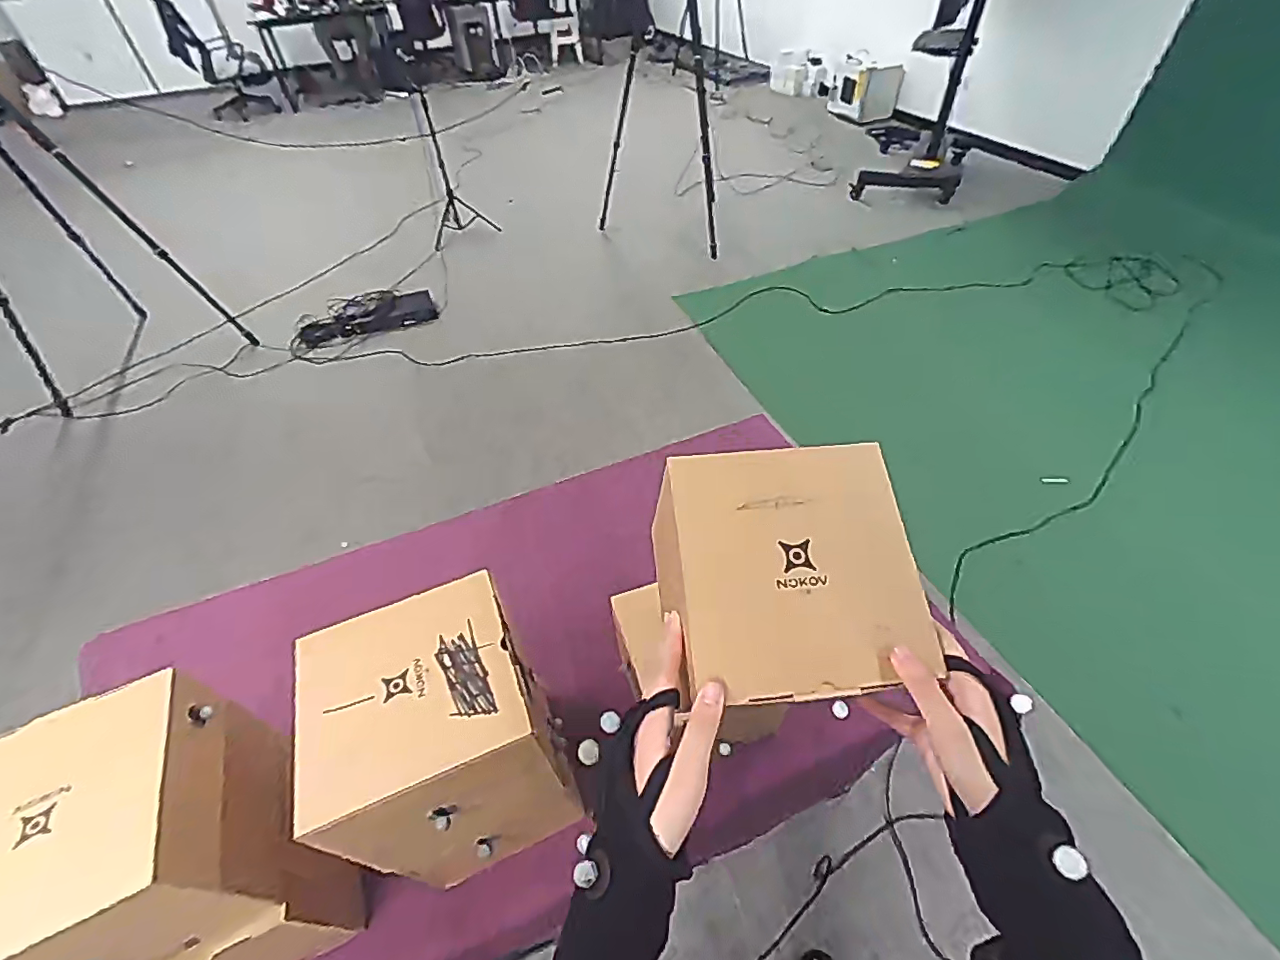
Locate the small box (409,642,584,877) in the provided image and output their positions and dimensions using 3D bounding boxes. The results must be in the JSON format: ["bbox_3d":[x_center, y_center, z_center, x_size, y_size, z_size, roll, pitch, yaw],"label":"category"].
[{"bbox_3d":[-0.181,0.327,0.630,0.179,0.176,0.168,-21,50,-14],"label":"small box"}]

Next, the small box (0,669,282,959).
[{"bbox_3d":[-0.431,0.301,0.455,0.168,0.176,0.179,-23,49,-16],"label":"small box"}]

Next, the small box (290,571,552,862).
[{"bbox_3d":[-0.189,0.220,0.505,0.179,0.176,0.168,-20,49,-12],"label":"small box"}]

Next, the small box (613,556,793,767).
[{"bbox_3d":[0.071,0.232,0.693,0.168,0.176,0.179,-17,48,-9],"label":"small box"}]
